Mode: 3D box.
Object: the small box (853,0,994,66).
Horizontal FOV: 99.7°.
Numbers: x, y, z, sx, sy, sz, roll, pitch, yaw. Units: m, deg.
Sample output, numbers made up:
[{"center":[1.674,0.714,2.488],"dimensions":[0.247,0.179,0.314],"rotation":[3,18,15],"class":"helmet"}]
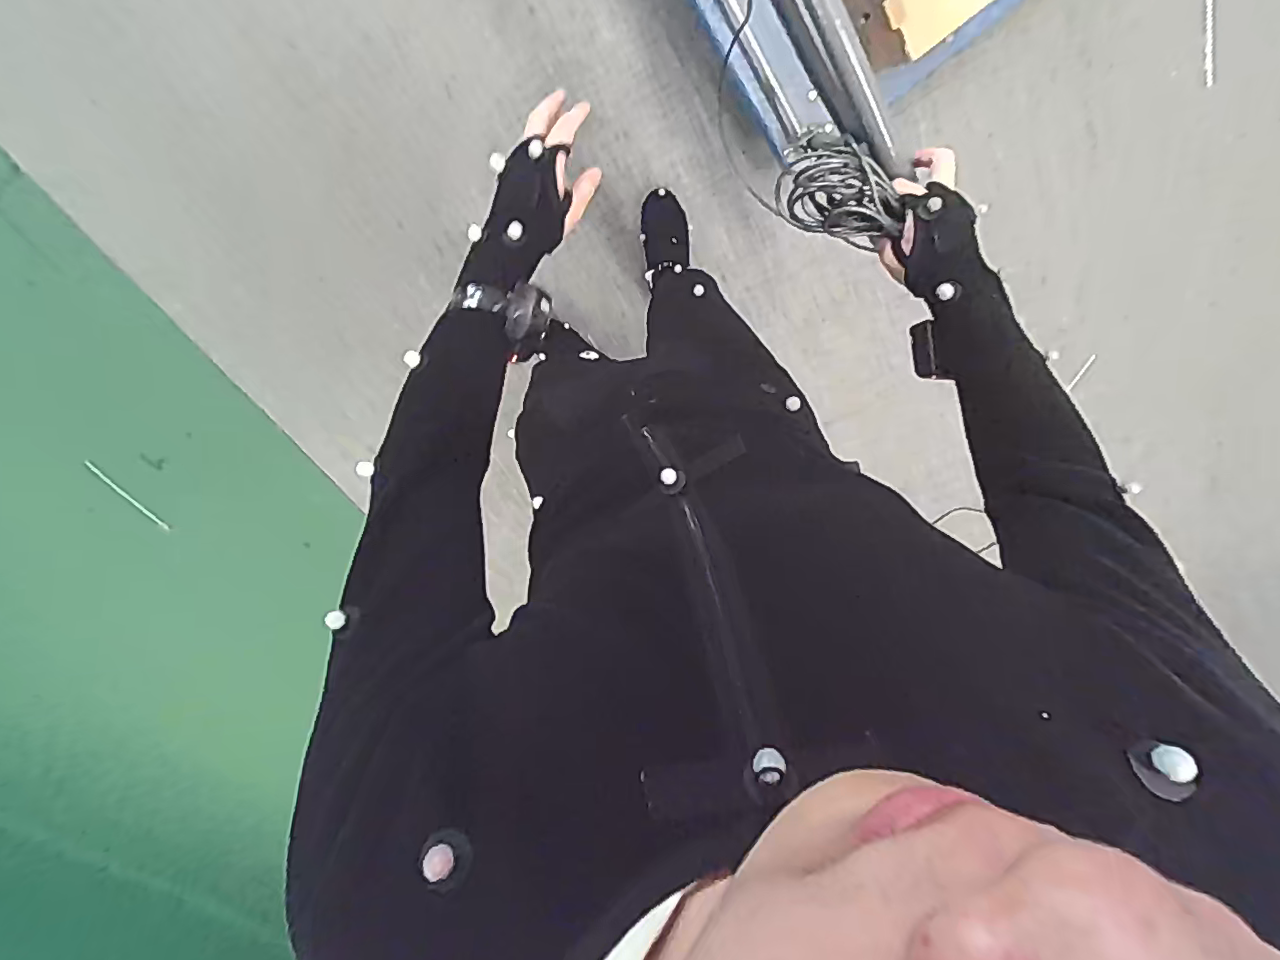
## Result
[{"center":[0.487,-0.851,0.918],"dimensions":[0.179,0.176,0.168],"rotation":[-31,117,20],"class":"small box"}]
